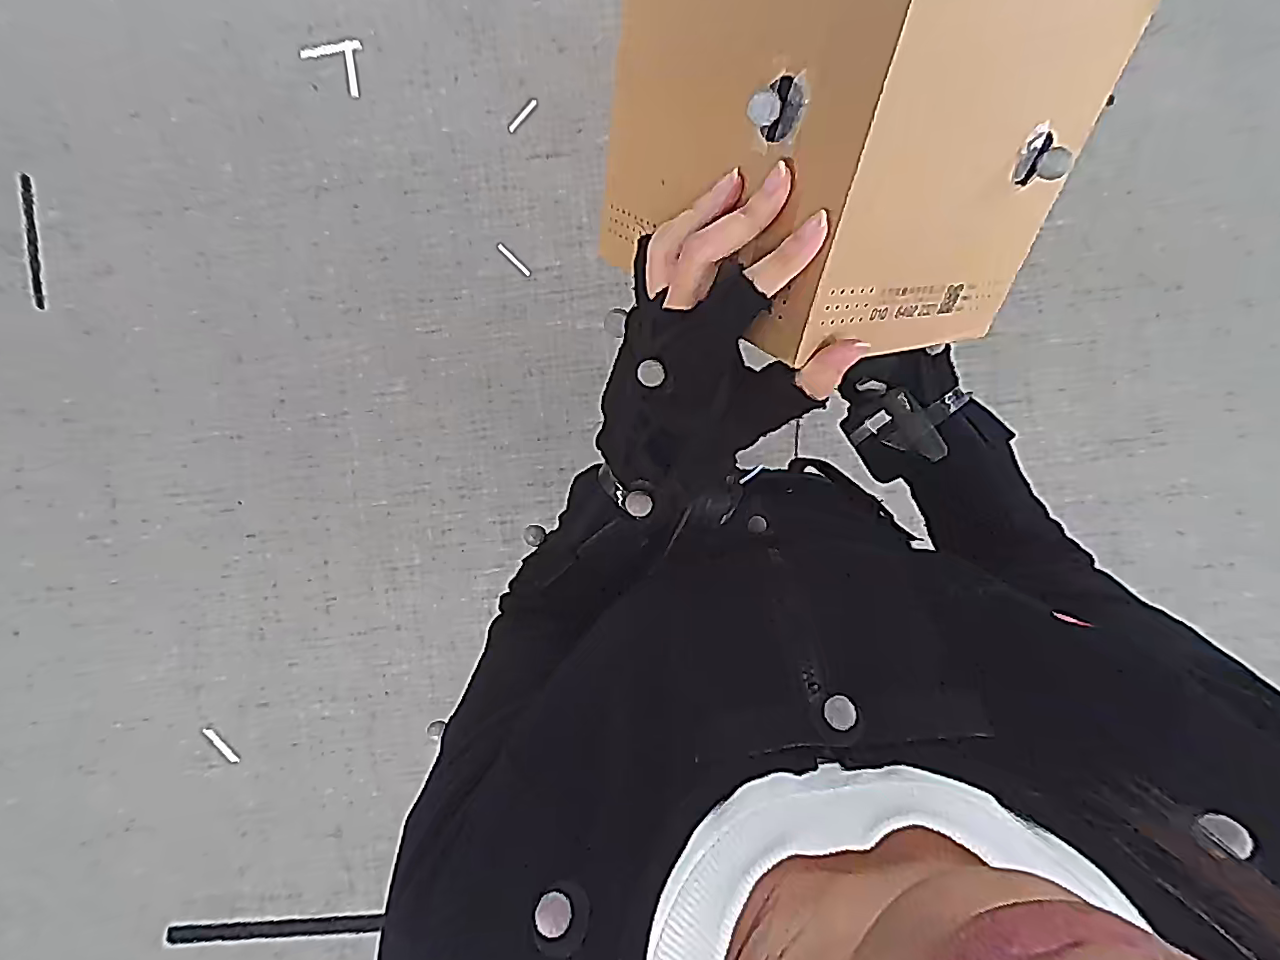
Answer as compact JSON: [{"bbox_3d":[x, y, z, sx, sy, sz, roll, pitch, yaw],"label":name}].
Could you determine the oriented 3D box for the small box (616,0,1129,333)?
[{"bbox_3d":[0.102,-0.188,0.302,0.168,0.179,0.176,-14,131,-31],"label":"small box"}]
